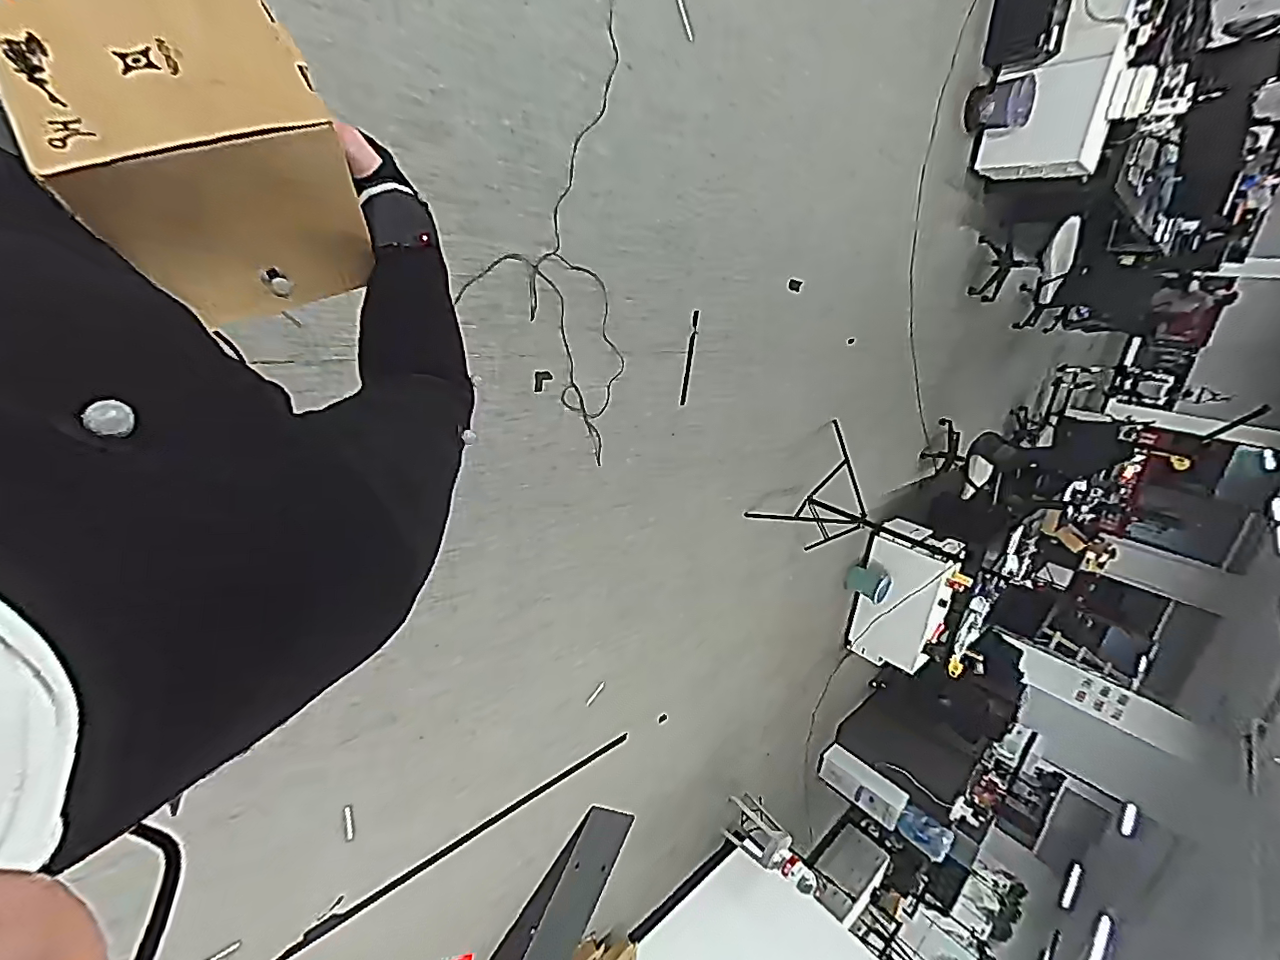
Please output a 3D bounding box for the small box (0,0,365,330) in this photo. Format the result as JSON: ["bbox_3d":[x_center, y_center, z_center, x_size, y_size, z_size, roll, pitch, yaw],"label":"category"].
[{"bbox_3d":[-0.359,-0.261,0.461,0.179,0.168,0.176,-28,167,-21],"label":"small box"}]
